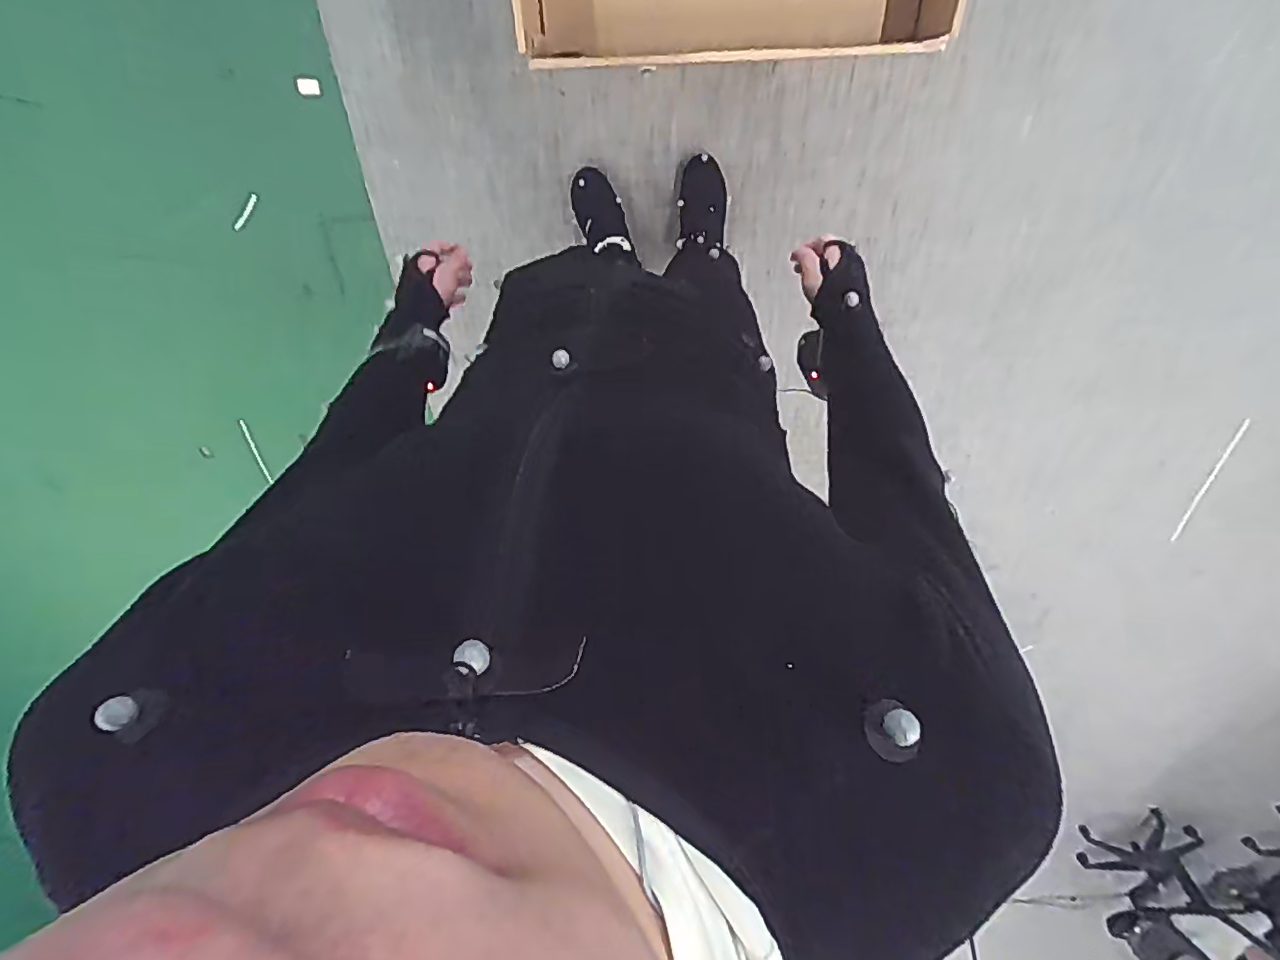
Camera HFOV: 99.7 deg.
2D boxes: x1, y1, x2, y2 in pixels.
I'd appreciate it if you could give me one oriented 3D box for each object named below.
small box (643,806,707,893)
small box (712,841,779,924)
[{"bbox_3d":[0.106,1.104,1.617,0.168,0.176,0.179,-9,125,8],"label":"small box"},{"bbox_3d":[0.330,1.287,1.735,0.179,0.176,0.168,5,124,-1],"label":"small box"}]
